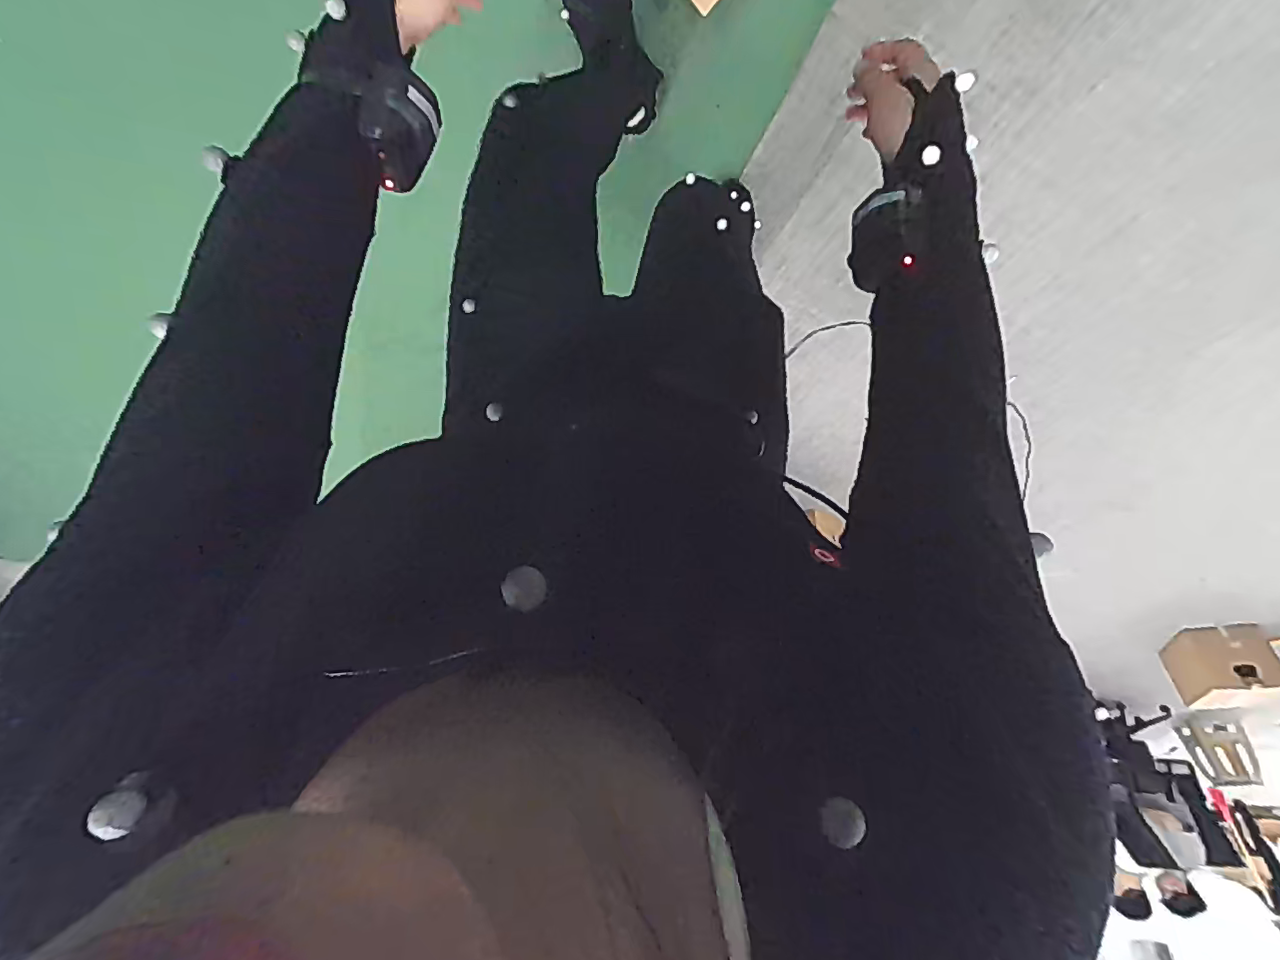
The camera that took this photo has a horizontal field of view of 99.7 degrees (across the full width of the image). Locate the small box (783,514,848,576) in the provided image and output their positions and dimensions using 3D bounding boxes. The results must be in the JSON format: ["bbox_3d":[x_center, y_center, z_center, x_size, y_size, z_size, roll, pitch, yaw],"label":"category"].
[{"bbox_3d":[0.689,0.256,2.137,0.179,0.176,0.168,24,139,-28],"label":"small box"}]
